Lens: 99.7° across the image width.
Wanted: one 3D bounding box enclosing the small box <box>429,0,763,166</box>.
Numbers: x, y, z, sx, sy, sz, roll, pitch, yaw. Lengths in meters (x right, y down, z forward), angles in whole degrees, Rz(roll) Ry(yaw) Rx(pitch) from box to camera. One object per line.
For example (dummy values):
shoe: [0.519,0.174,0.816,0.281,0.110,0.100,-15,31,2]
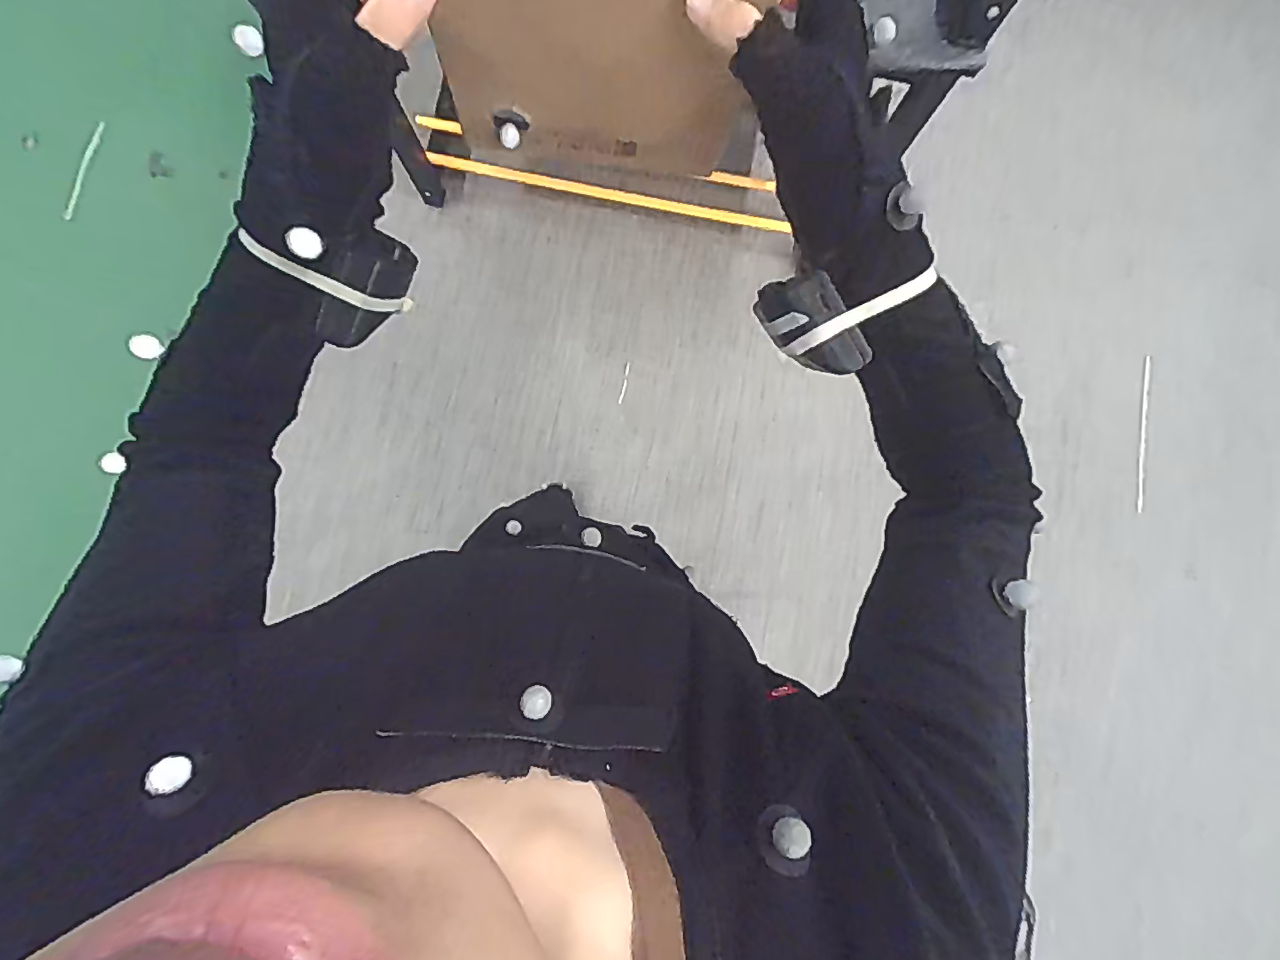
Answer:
small box: [-0.019,-0.305,0.289,0.168,0.176,0.179,4,86,-6]
